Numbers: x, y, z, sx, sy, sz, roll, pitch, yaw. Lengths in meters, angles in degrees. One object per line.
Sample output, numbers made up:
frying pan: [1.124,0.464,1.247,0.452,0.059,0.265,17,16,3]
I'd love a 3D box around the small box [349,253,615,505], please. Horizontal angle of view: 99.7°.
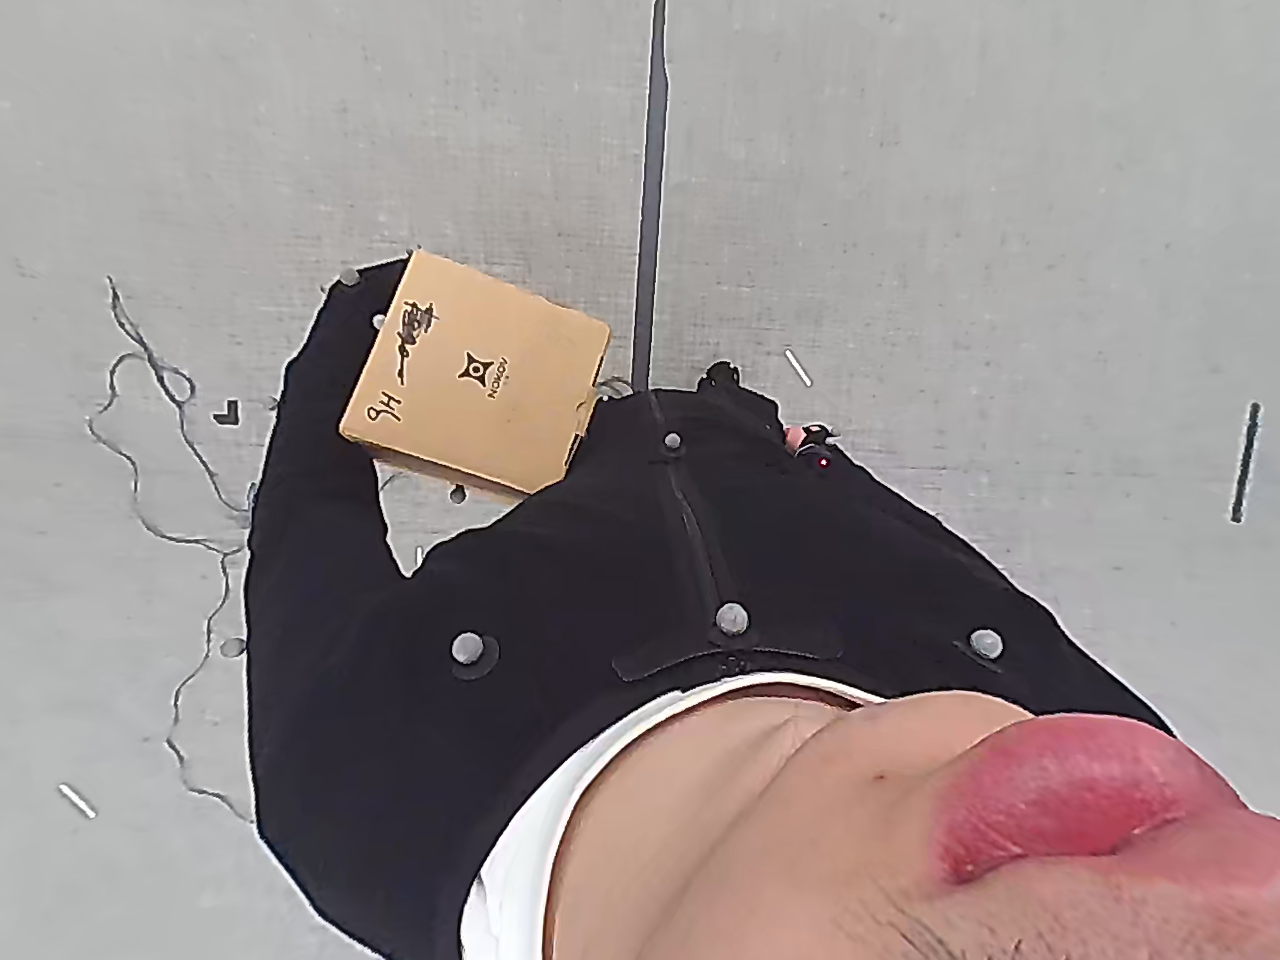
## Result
small box: [-0.146,-0.078,0.528,0.179,0.176,0.168,19,78,-13]
